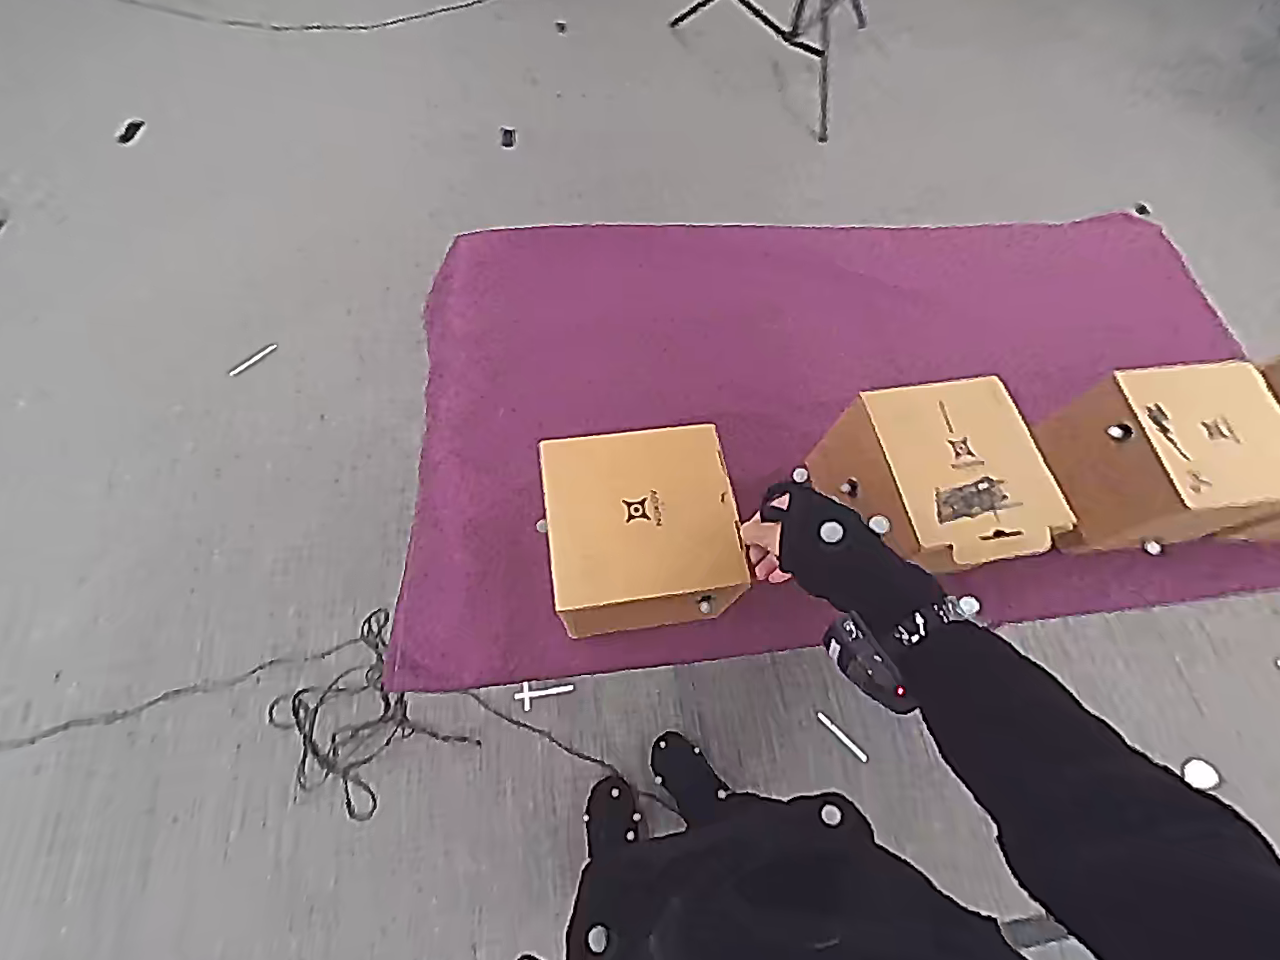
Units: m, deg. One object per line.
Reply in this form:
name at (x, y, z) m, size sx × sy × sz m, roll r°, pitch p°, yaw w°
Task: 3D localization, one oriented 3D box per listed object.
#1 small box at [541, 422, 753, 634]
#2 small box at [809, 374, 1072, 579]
small box at (-0.002, 0.058, 0.567) m, size 0.179 × 0.176 × 0.168 m, roll -7°, pitch 67°, yaw -8°
small box at (0.316, 0.006, 0.613) m, size 0.168 × 0.176 × 0.179 m, roll -8°, pitch 67°, yaw -8°
